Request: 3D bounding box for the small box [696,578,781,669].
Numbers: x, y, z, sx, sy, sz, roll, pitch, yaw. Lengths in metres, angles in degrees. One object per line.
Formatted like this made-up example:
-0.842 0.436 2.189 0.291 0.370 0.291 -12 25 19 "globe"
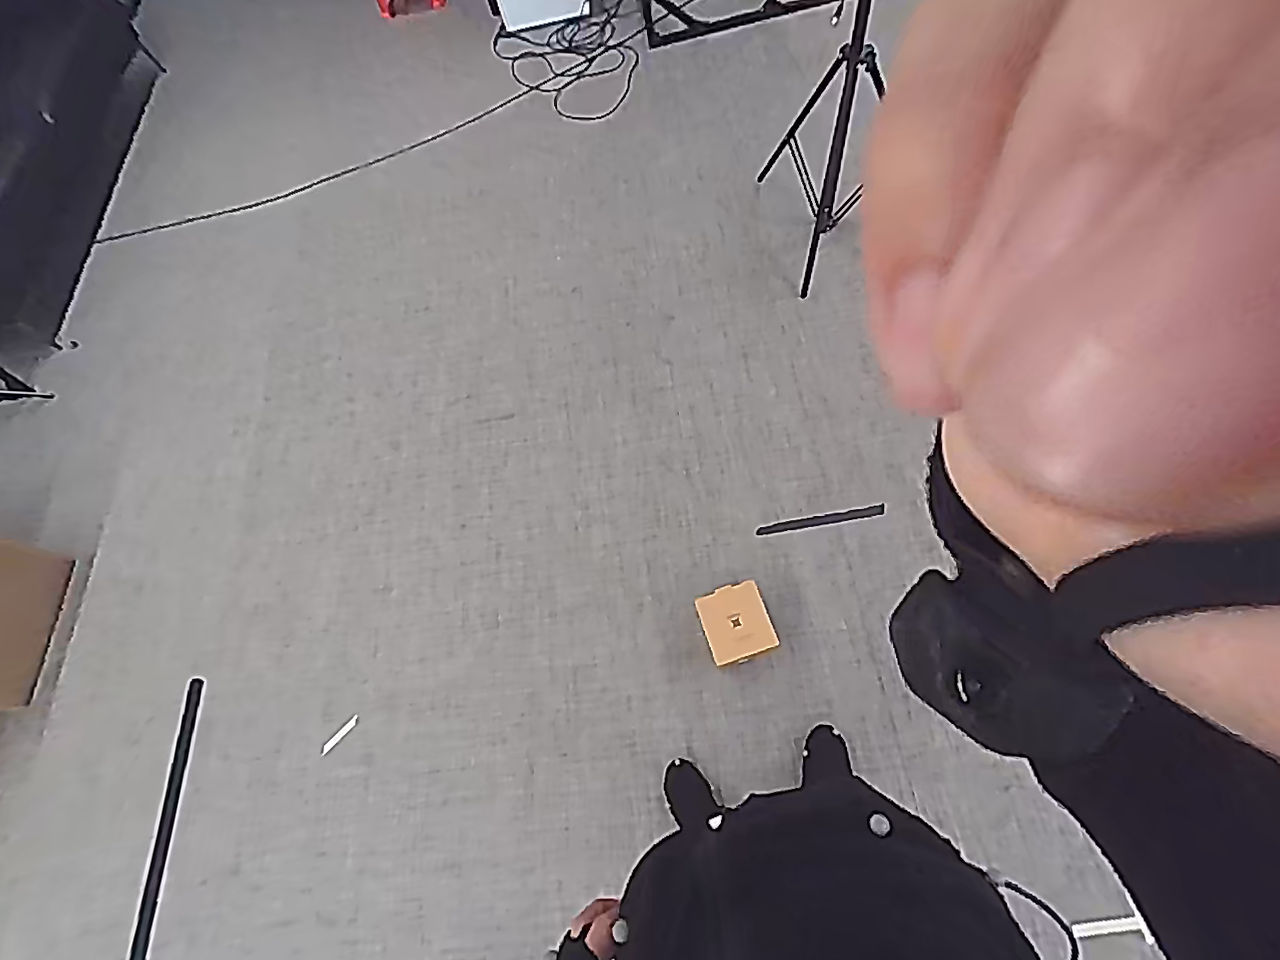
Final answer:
0.256 0.382 1.422 0.168 0.176 0.179 -20 65 3 "small box"
